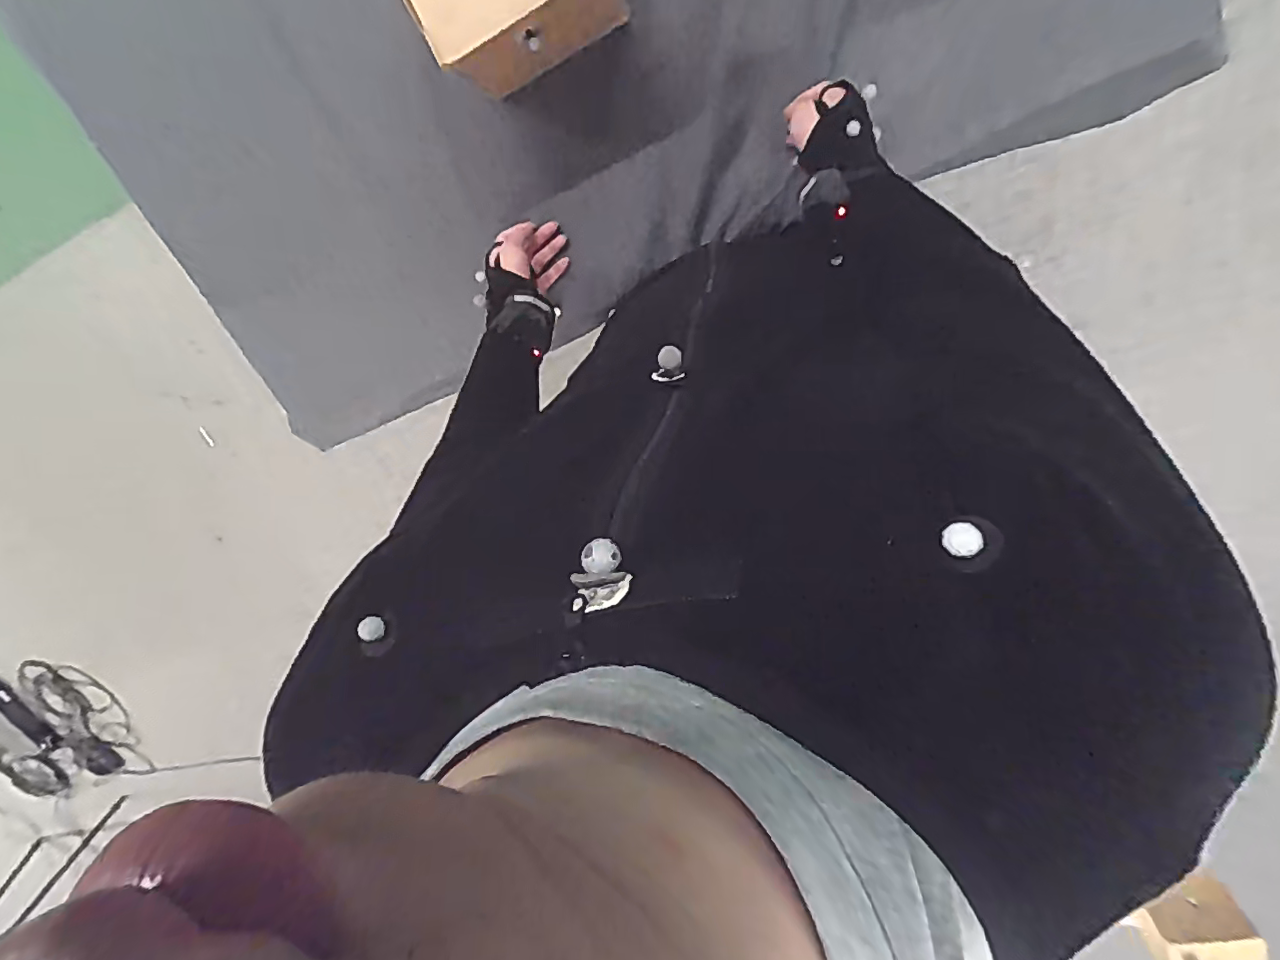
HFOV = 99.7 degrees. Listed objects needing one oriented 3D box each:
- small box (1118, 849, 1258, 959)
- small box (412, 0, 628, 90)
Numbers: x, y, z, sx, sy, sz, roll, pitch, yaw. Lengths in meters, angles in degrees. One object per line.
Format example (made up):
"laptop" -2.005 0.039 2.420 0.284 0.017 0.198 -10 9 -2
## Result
"small box" 1.253 0.994 1.252 0.179 0.176 0.168 -20 113 15
"small box" -0.125 -0.506 0.508 0.179 0.176 0.168 -21 114 15
